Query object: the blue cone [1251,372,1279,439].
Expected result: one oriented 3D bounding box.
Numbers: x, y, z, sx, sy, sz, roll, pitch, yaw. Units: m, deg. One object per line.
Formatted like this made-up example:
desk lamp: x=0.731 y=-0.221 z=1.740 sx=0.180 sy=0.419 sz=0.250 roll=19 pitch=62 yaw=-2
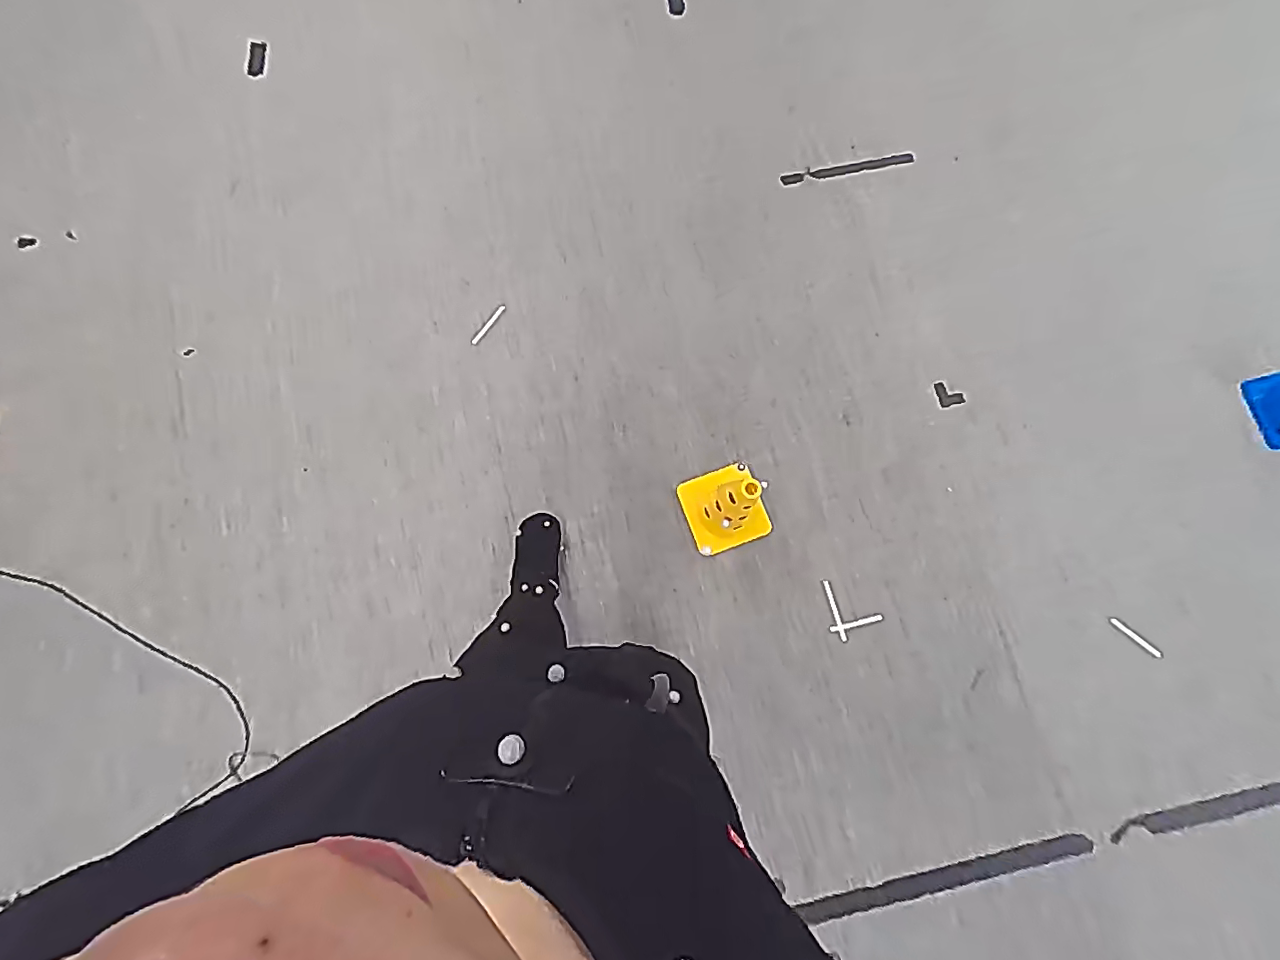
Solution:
blue cone: x=1.735 y=-0.232 z=1.269 sx=0.193 sy=0.380 sz=0.192 roll=-12 pitch=79 yaw=-2
